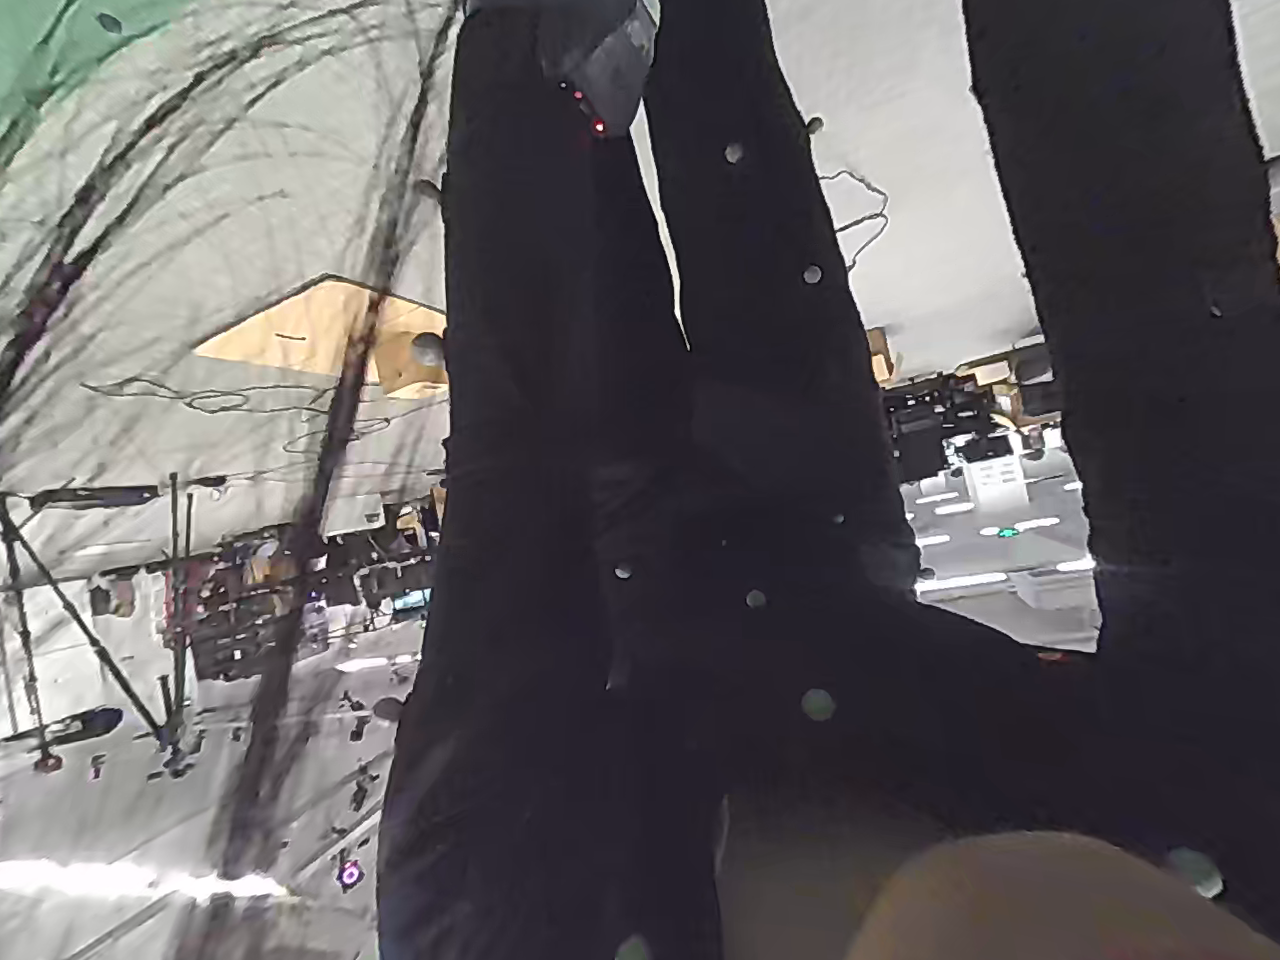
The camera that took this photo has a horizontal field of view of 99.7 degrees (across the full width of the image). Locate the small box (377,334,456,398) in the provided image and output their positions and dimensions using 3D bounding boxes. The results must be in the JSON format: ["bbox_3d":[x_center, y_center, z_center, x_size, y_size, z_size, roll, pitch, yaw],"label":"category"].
[{"bbox_3d":[-0.763,-0.386,1.840,0.179,0.176,0.168,-13,178,27],"label":"small box"}]
